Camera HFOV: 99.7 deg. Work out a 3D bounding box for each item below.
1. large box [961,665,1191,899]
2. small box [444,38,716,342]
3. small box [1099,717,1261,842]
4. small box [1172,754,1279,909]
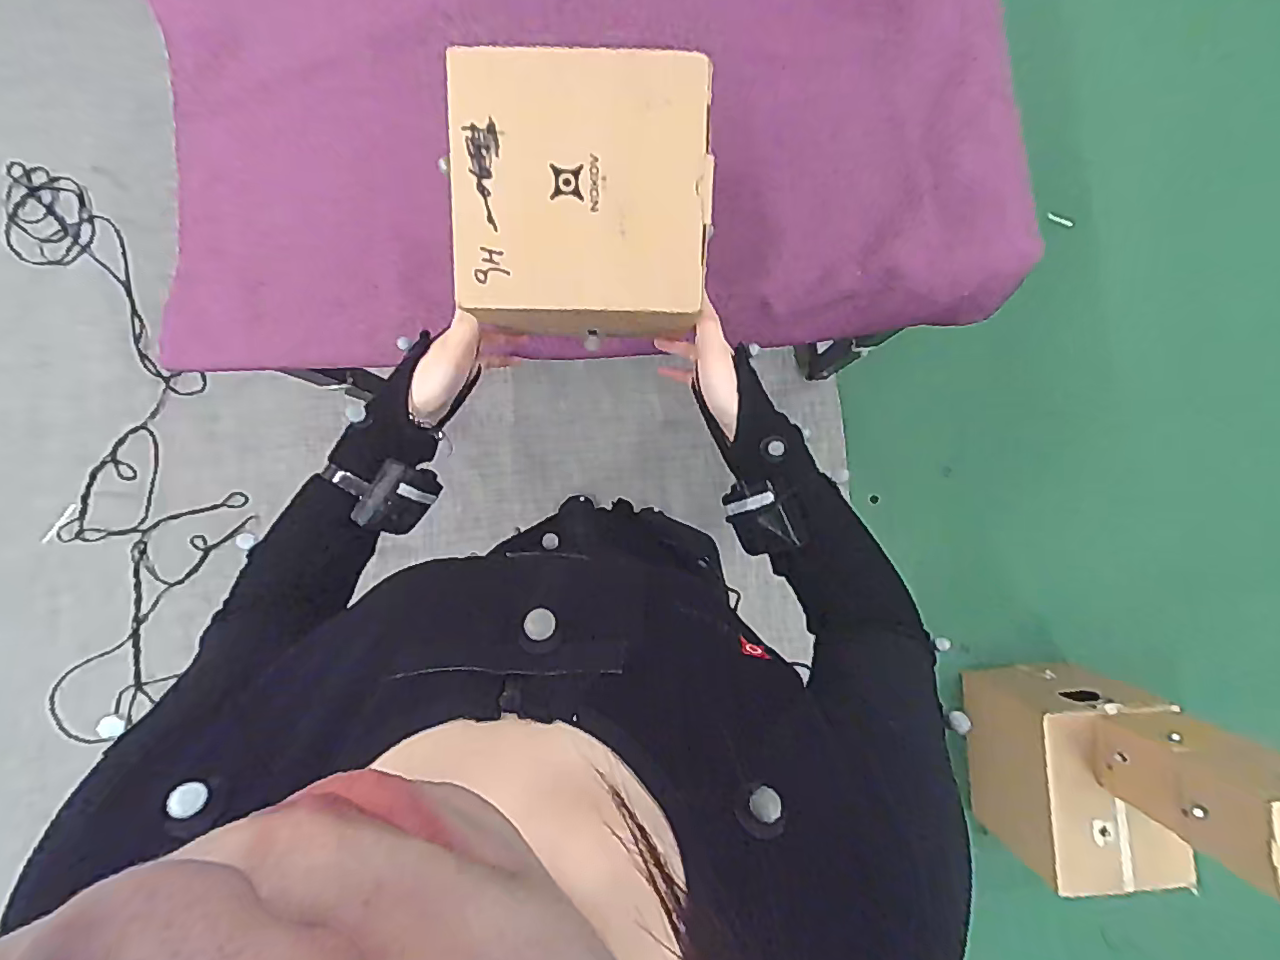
[{"bbox_3d":[1.050,0.716,1.343,0.320,0.320,0.408,-4,89,0],"label":"large box"},{"bbox_3d":[-0.044,-0.206,0.435,0.179,0.176,0.168,1,97,-2],"label":"small box"},{"bbox_3d":[1.096,0.600,1.105,0.179,0.176,0.168,-3,89,-1],"label":"small box"},{"bbox_3d":[1.096,0.598,0.940,0.179,0.176,0.168,-4,89,0],"label":"small box"}]
